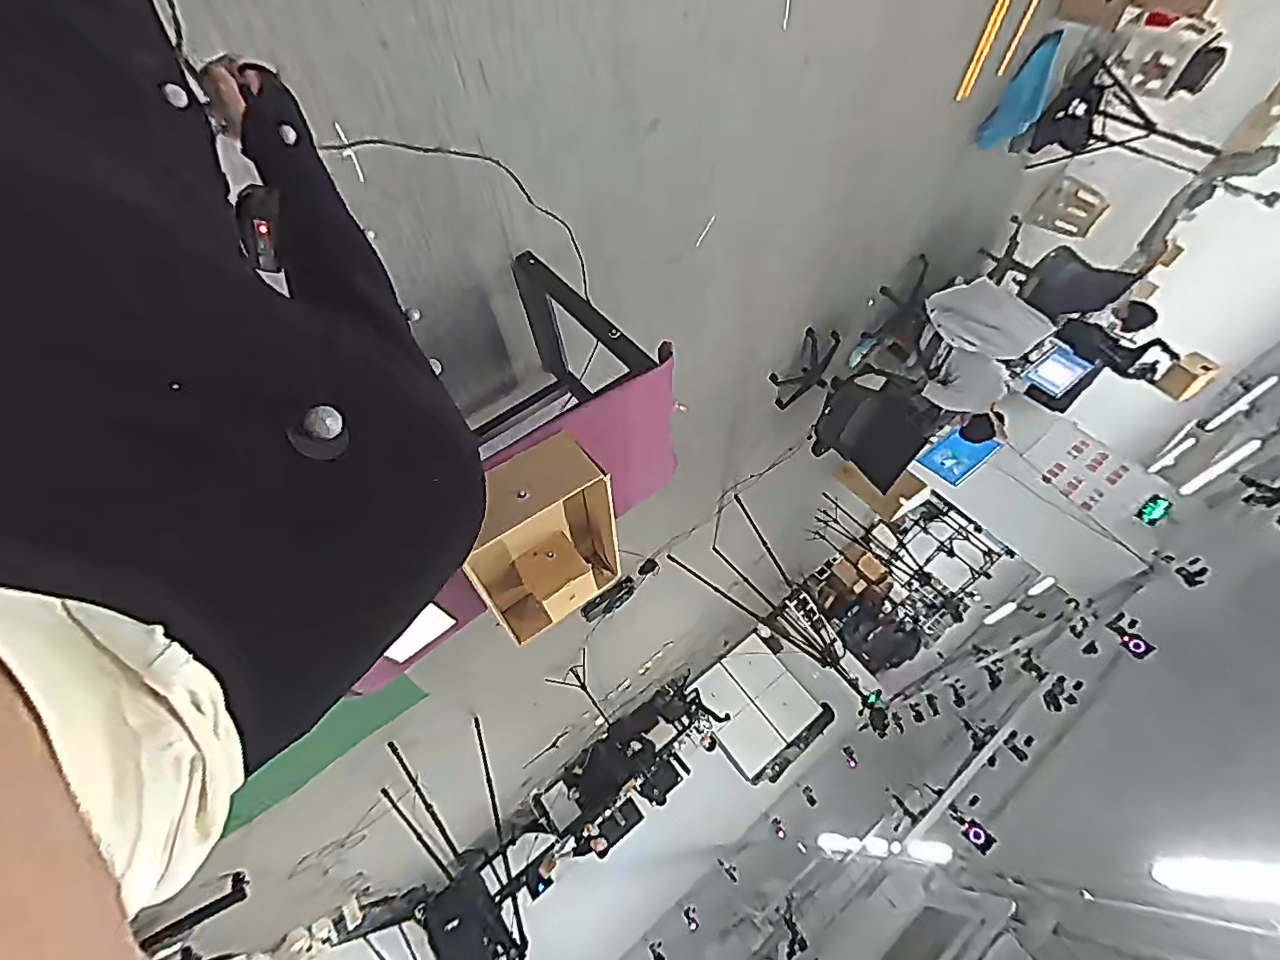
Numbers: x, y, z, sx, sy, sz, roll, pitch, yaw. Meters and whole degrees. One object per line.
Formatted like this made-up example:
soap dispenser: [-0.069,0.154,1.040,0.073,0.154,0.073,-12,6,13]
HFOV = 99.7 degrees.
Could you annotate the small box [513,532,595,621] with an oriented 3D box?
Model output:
small box: [-0.256,0.287,1.622,0.168,0.176,0.179,-33,150,-17]
